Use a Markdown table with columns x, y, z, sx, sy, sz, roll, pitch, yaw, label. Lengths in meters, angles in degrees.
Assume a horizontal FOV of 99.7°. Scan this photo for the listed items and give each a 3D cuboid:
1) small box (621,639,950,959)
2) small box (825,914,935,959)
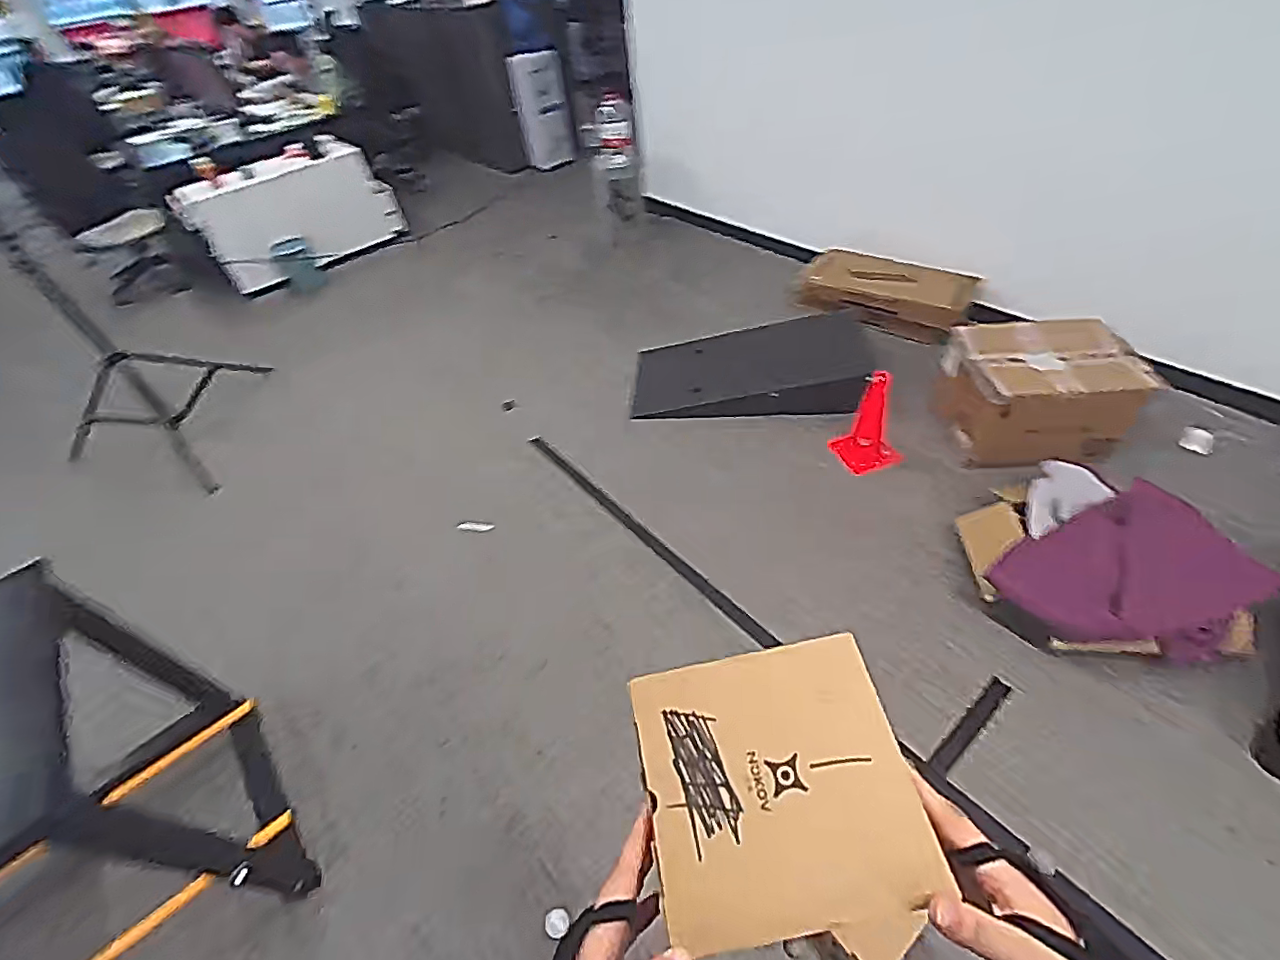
| x | y | z | sx | sy | sz | roll | pitch | yaw | label |
| --- | --- | --- | --- | --- | --- | --- | --- | --- | --- |
| 0.094 | 0.247 | 0.423 | 0.179 | 0.176 | 0.168 | -13 | 55 | -1 | small box |
| 0.448 | 0.860 | 1.081 | 0.179 | 0.176 | 0.168 | -34 | 52 | -20 | small box |
